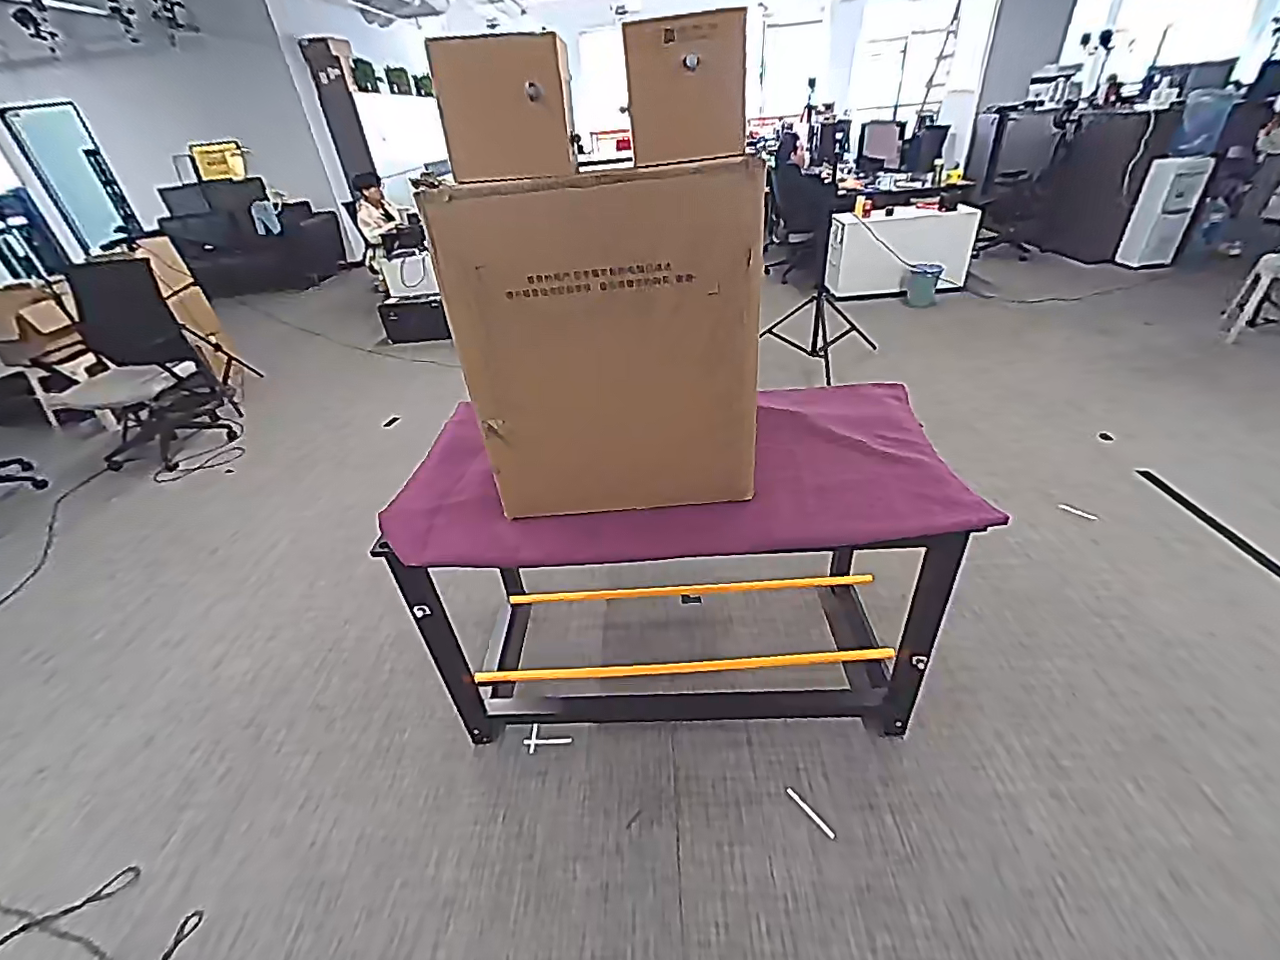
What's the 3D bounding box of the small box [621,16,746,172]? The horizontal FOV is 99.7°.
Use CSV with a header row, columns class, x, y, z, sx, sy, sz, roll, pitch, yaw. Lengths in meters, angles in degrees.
class,x,y,z,sx,sy,sz,roll,pitch,yaw
small box,0.064,-0.575,0.812,0.168,0.176,0.179,-6,34,2
